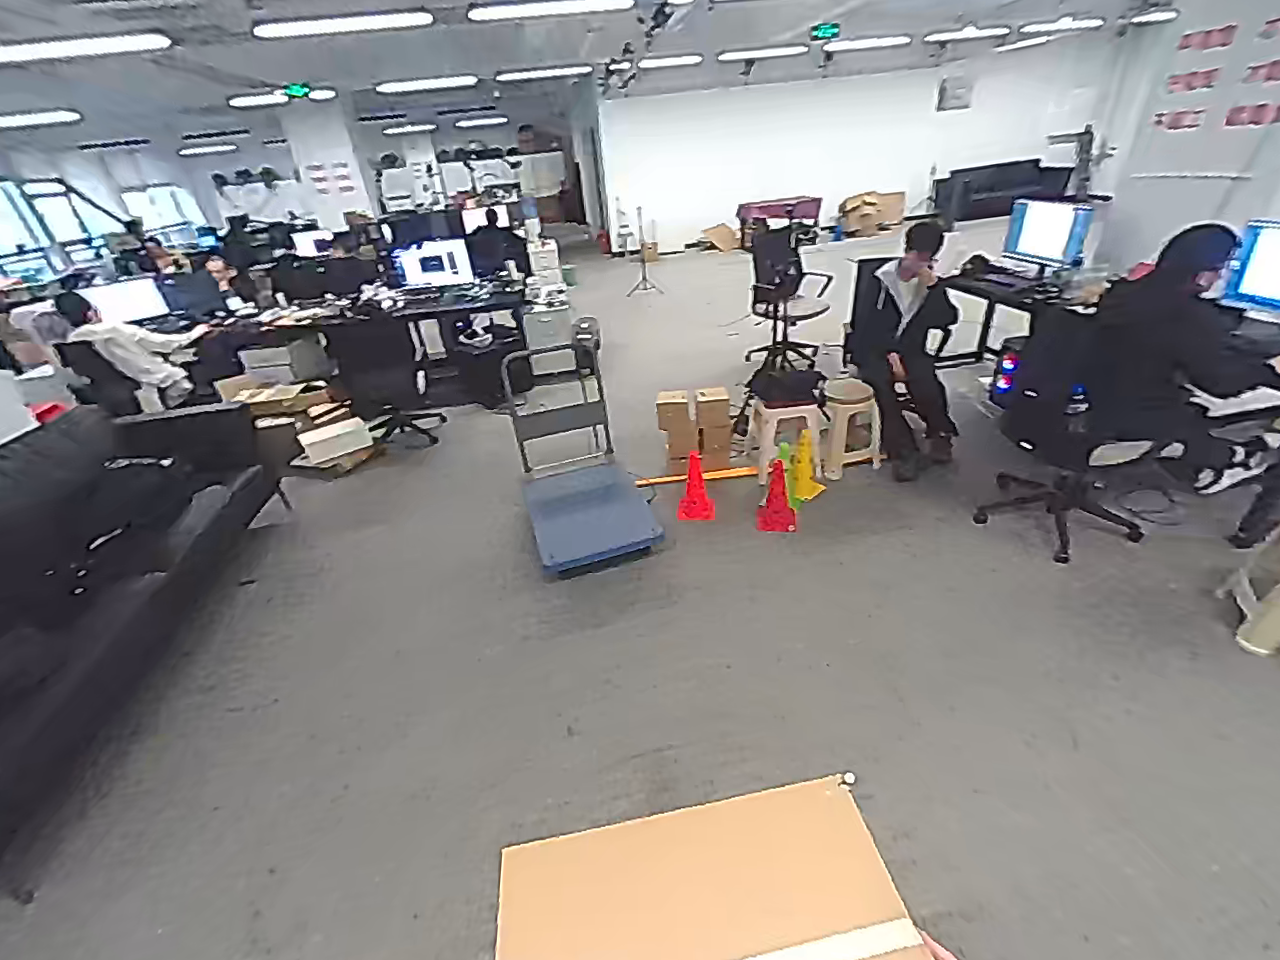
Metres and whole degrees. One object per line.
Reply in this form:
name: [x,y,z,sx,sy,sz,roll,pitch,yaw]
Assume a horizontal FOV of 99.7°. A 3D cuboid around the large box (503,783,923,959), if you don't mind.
large box: [0.080,0.600,0.580,0.408,0.320,0.320,-9,32,-6]
